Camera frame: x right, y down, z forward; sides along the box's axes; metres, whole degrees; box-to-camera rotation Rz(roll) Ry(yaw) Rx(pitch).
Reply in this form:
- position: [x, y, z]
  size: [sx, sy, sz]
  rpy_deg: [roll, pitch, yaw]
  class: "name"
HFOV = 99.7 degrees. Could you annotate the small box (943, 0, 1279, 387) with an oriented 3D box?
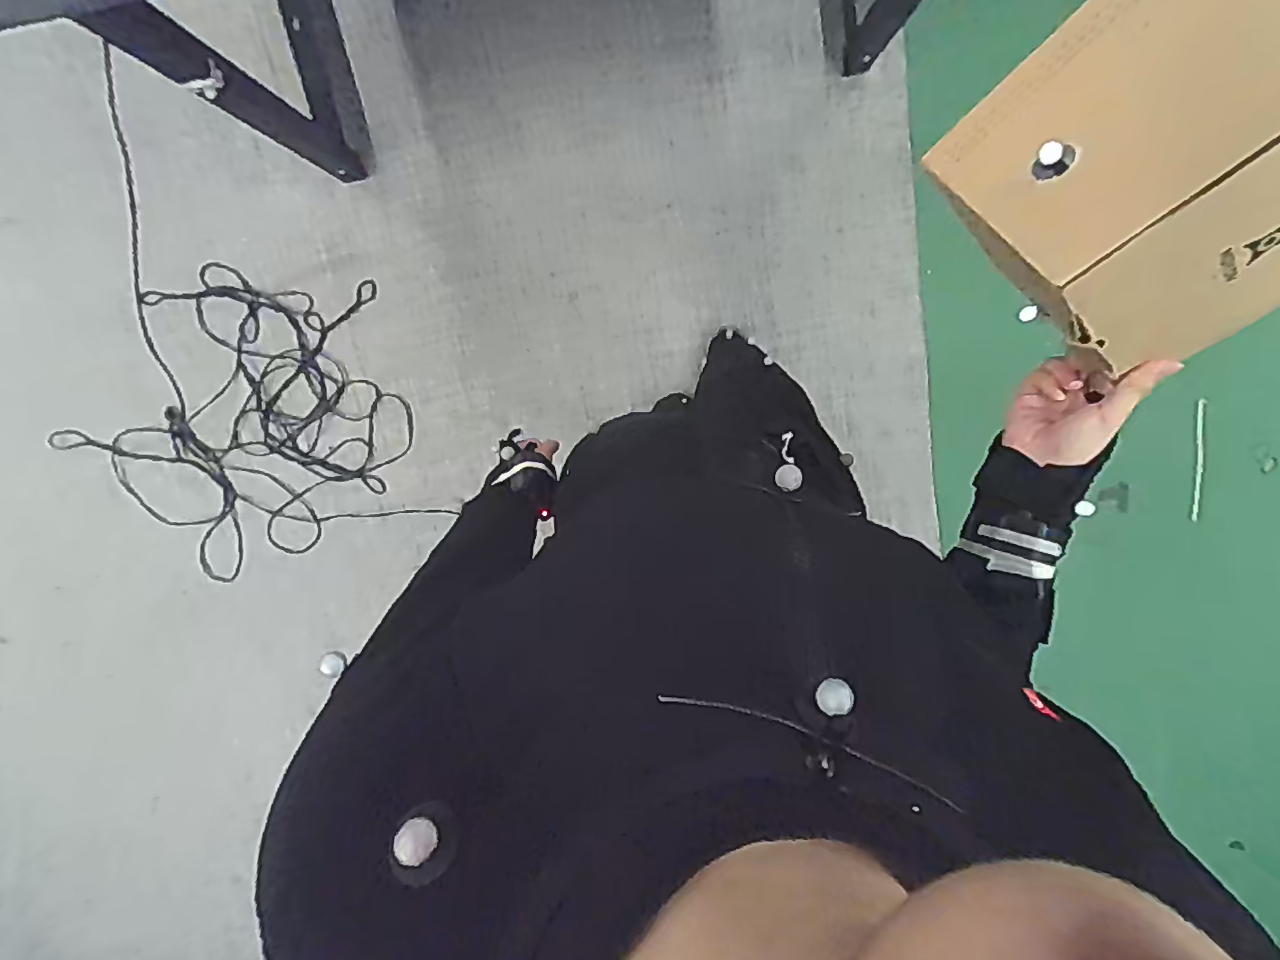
- position: [0.334, -0.200, 0.351]
  size: [0.168, 0.176, 0.179]
  rpy_deg: [18, 133, -37]
  class: "small box"
